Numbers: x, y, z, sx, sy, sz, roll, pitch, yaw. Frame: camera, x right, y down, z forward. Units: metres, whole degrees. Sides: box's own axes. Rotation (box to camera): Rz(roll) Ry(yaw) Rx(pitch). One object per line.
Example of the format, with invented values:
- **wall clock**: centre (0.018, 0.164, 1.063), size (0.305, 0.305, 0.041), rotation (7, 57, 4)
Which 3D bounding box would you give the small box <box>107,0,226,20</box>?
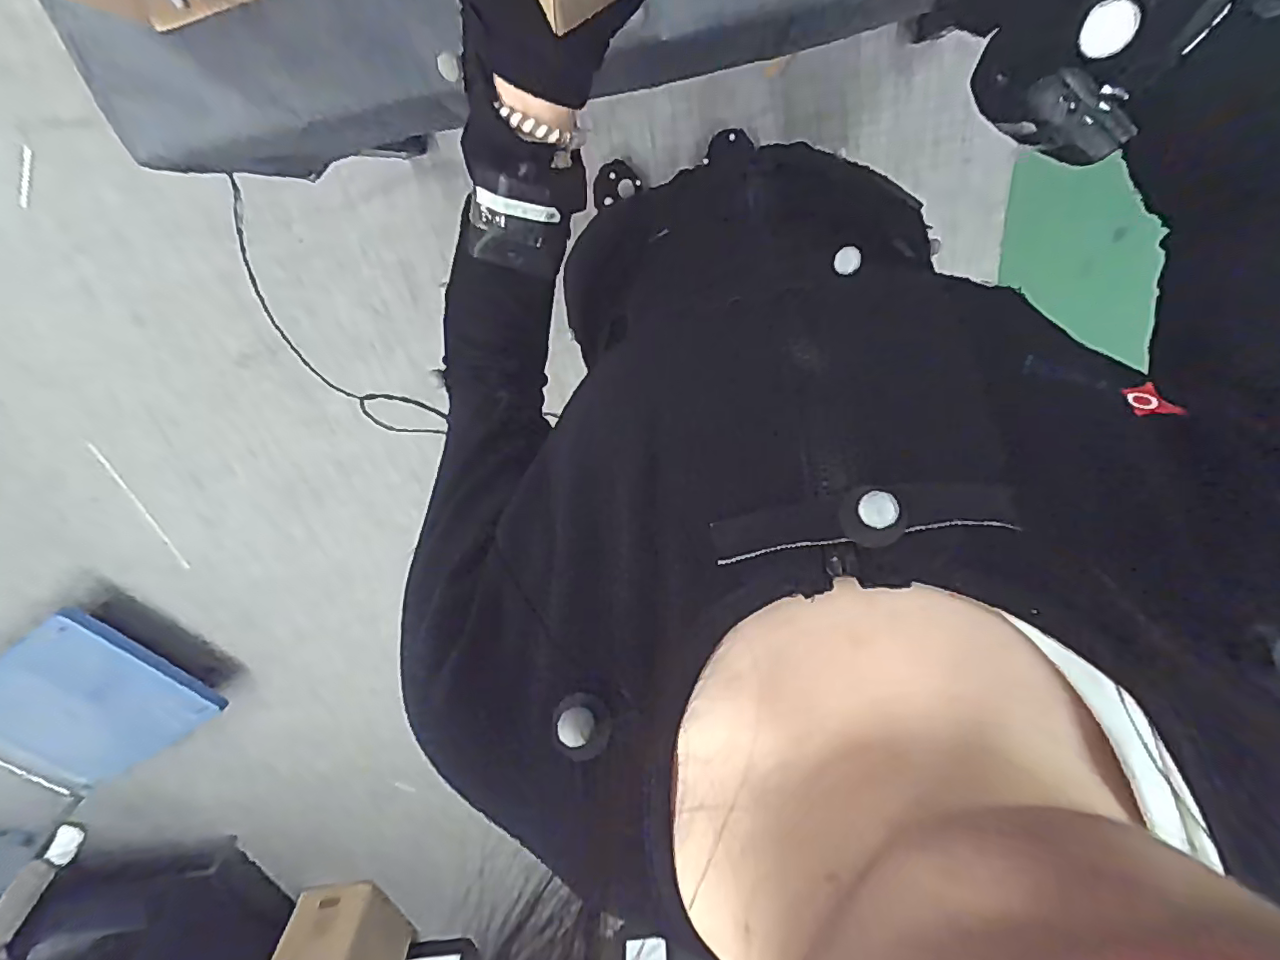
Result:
- **small box**: centre (-0.416, -0.496, 0.408), size (0.168, 0.176, 0.179), rotation (-12, 119, 6)
